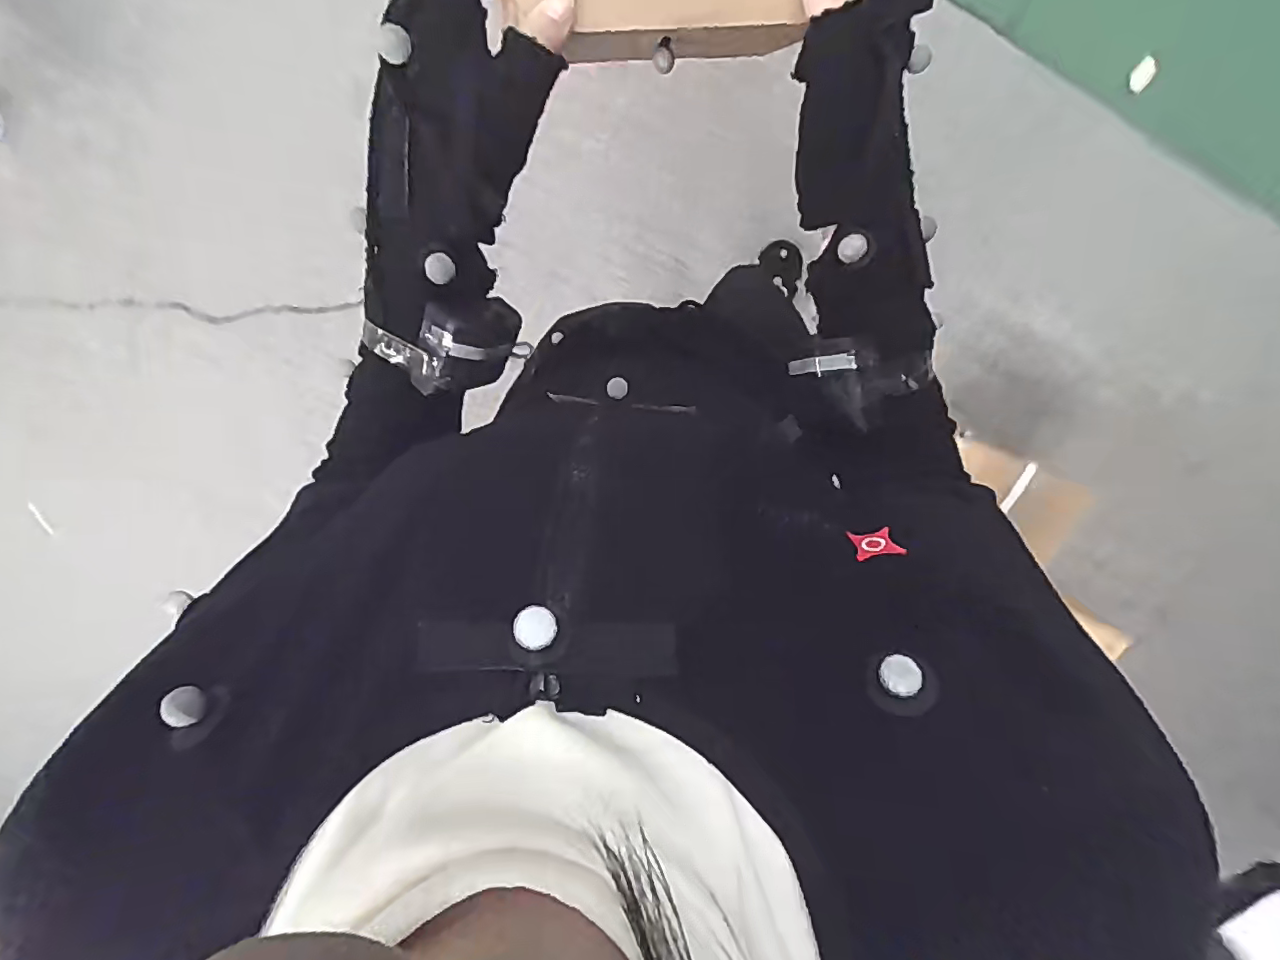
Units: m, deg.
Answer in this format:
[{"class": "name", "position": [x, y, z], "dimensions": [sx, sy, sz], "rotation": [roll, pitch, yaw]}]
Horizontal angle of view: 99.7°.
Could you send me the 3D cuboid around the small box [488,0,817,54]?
[{"class": "small box", "position": [0.003, -0.334, 0.277], "dimensions": [0.179, 0.176, 0.168], "rotation": [-7, 125, -3]}]
